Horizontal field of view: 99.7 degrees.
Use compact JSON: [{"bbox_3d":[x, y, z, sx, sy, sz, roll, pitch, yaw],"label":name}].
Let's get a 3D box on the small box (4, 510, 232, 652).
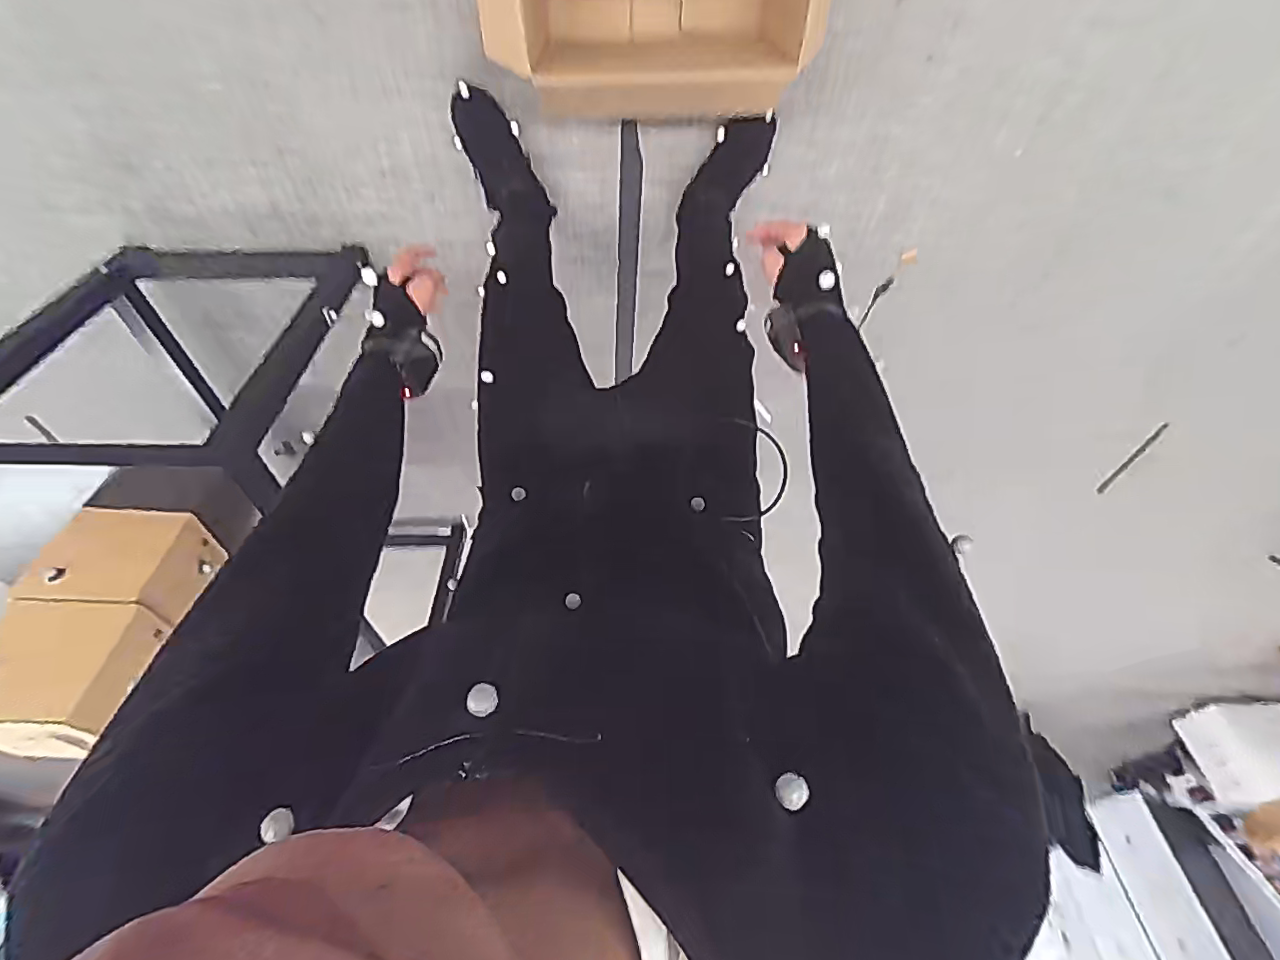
[{"bbox_3d":[-0.829,0.164,0.885,0.179,0.176,0.168,4,140,-6],"label":"small box"}]
